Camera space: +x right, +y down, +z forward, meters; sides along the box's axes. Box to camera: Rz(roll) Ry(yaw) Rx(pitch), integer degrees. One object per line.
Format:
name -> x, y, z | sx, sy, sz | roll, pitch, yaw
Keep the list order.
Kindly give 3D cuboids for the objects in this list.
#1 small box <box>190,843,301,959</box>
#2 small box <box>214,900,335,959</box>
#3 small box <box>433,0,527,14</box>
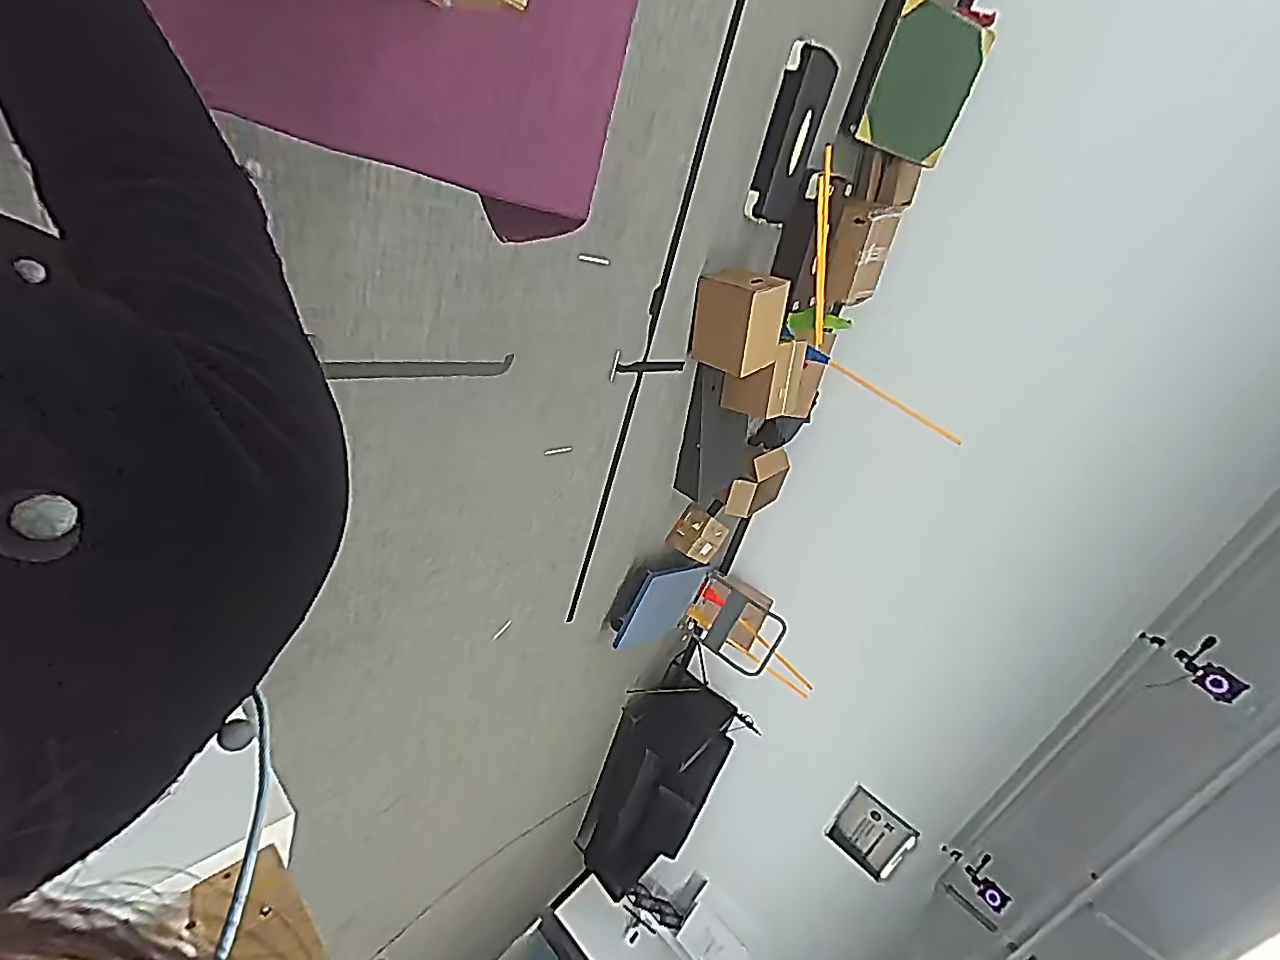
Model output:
small box -> -0.929, 1.012, 1.269 | 0.168, 0.176, 0.179 | -8, 126, -53
small box -> -0.807, 1.088, 1.187 | 0.179, 0.176, 0.168 | -8, 125, -52
small box -> -0.205, -0.580, 0.502 | 0.168, 0.176, 0.179 | -16, 131, -49
